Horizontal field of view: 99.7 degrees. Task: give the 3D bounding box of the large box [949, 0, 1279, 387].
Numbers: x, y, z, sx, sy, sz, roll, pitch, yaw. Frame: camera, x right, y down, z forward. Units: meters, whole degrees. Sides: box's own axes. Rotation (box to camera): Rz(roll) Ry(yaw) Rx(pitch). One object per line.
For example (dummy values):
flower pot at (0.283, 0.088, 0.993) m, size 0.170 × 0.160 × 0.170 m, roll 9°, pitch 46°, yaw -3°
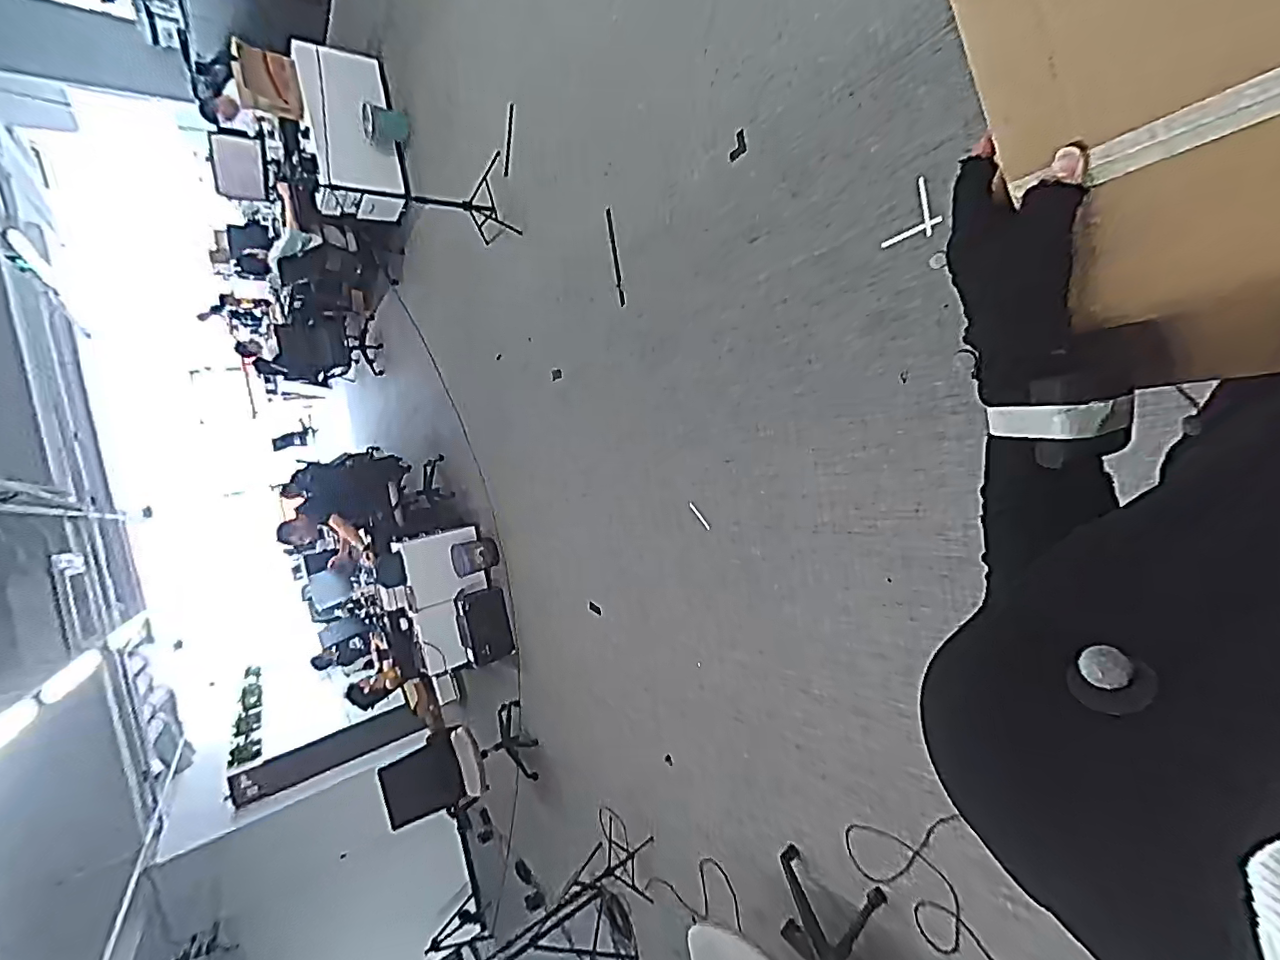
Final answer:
large box at (0.453, -0.289, 0.266) m, size 0.408 × 0.320 × 0.320 m, roll -3°, pitch 127°, yaw 55°
